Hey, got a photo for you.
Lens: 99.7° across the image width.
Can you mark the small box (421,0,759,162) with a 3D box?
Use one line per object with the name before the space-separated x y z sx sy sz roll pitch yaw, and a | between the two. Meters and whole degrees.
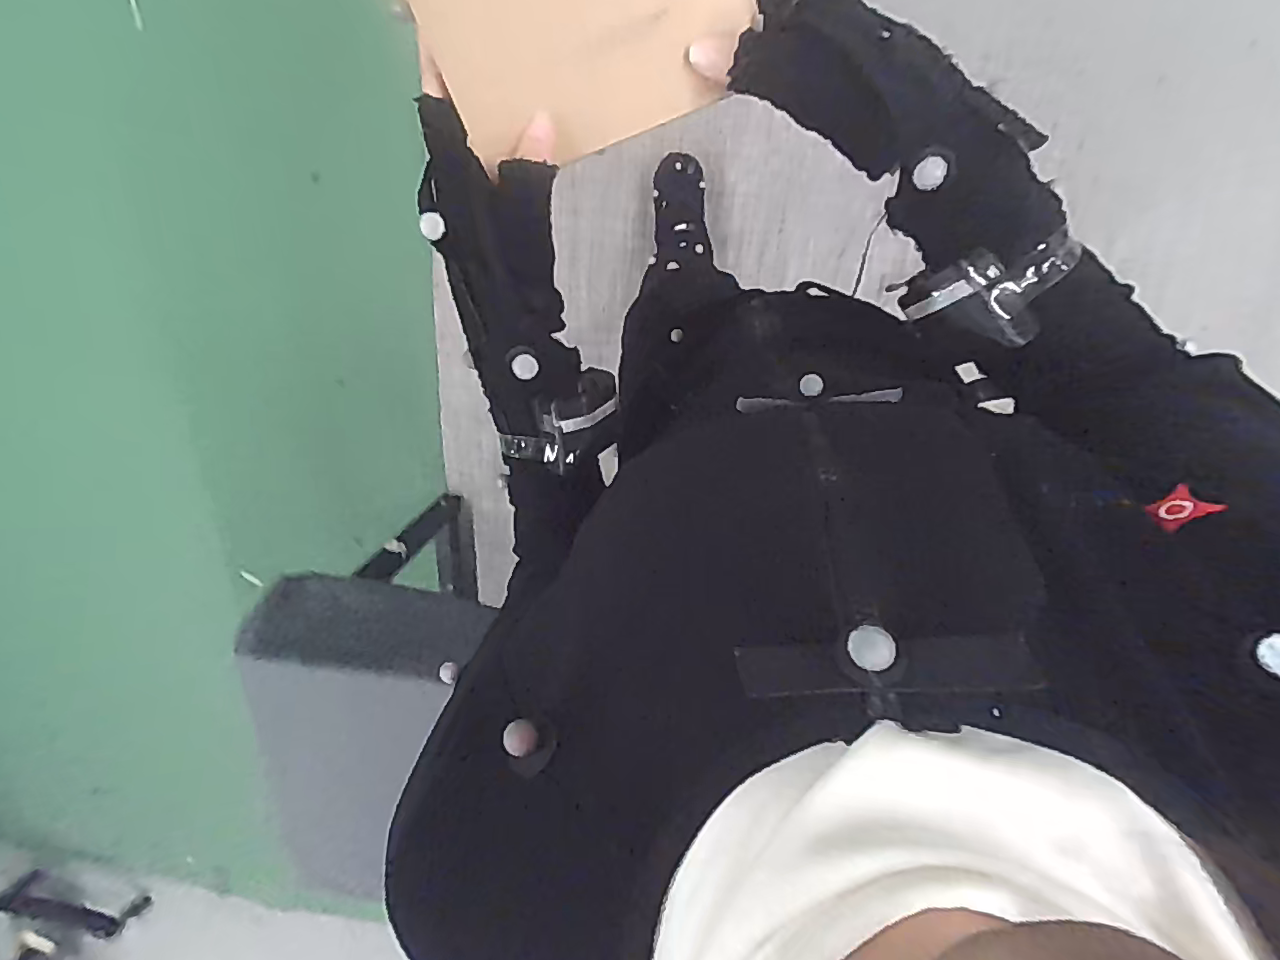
small box | -0.047 -0.319 0.318 0.168 0.176 0.179 -19 128 6
